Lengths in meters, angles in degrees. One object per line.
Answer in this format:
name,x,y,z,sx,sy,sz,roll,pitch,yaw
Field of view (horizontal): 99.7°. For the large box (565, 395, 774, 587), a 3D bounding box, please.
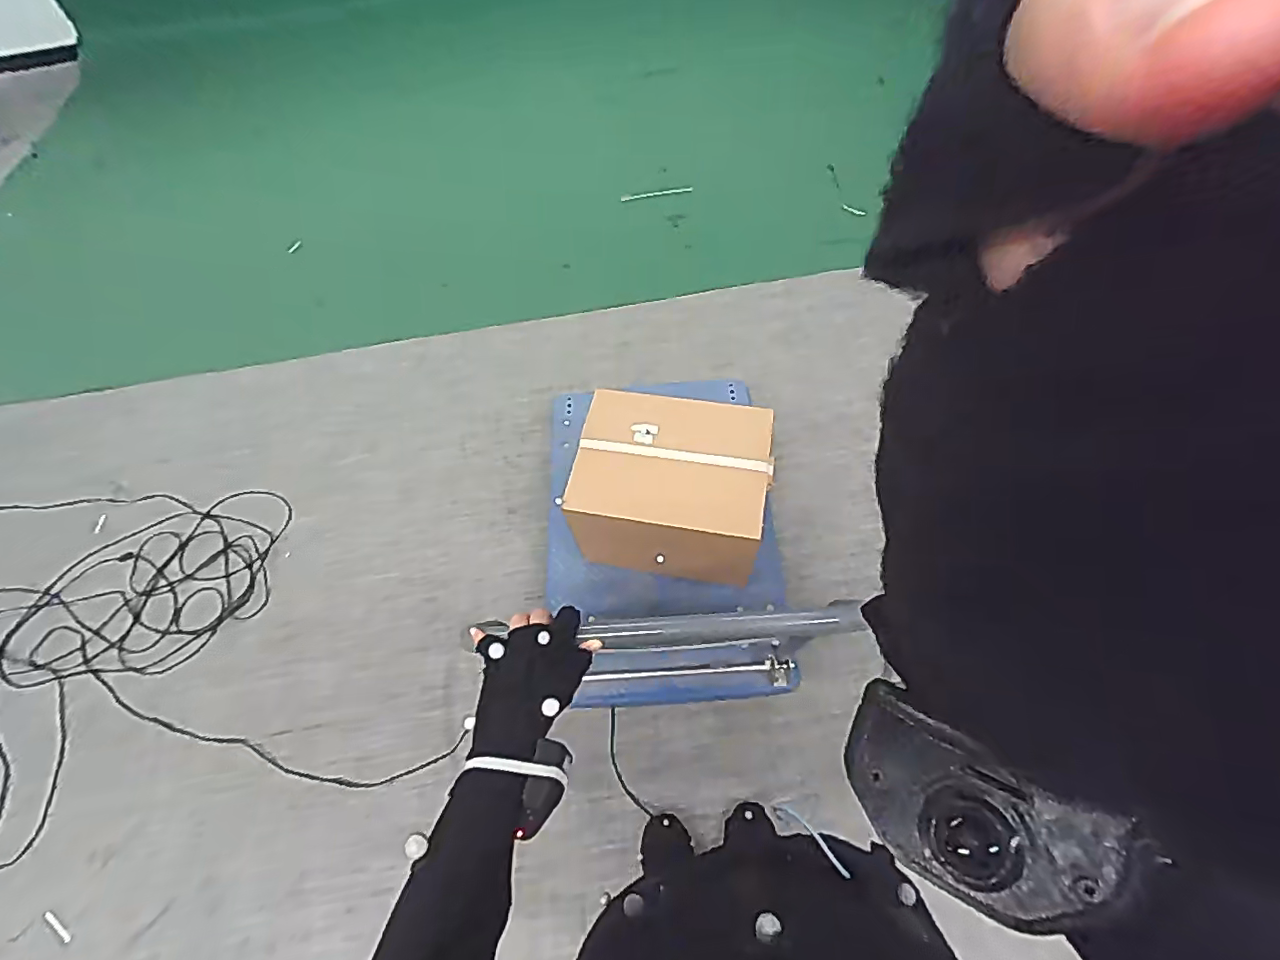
large box,0.084,0.034,1.263,0.408,0.320,0.320,9,62,10
